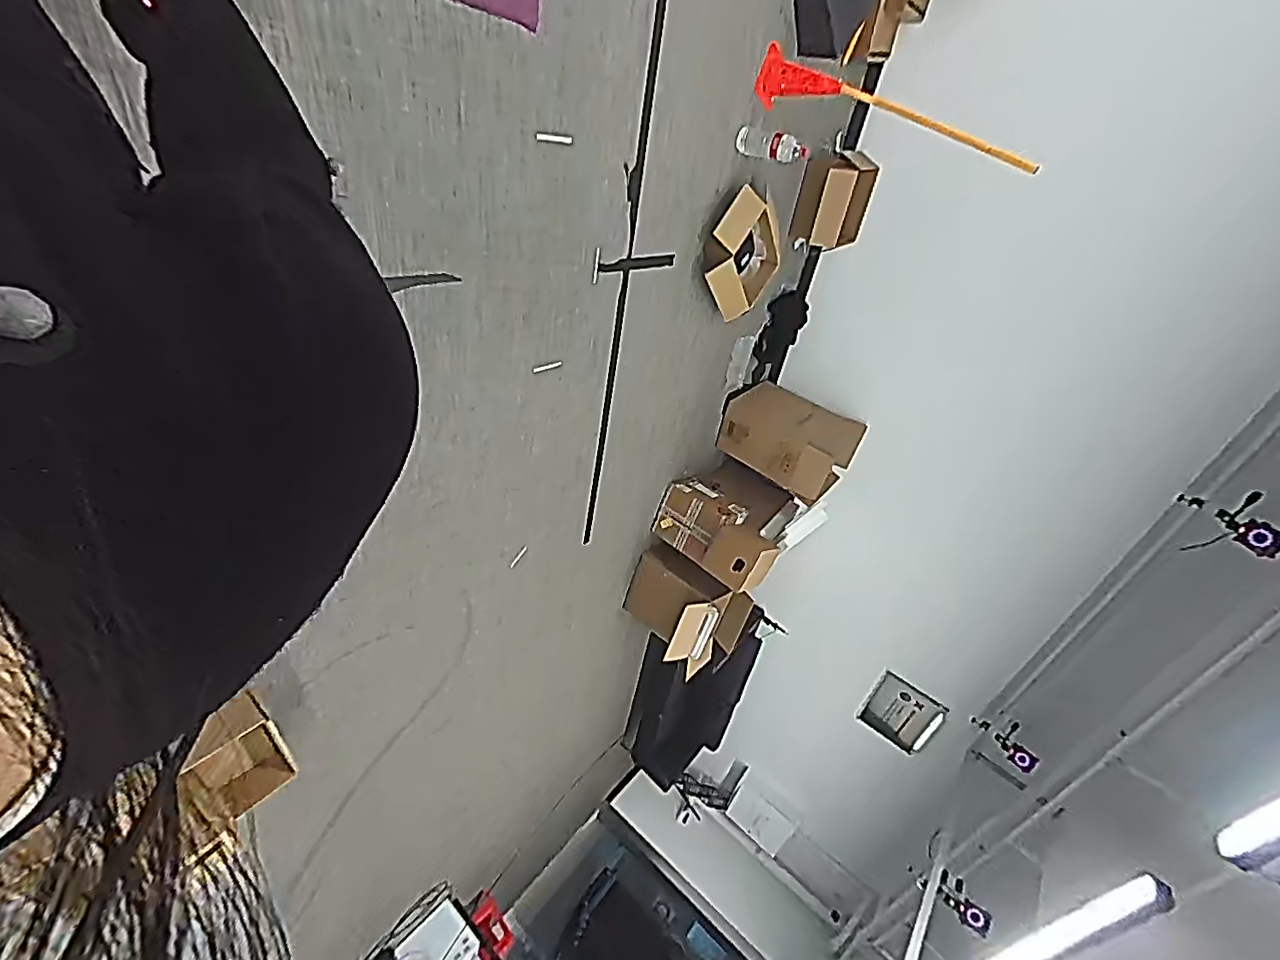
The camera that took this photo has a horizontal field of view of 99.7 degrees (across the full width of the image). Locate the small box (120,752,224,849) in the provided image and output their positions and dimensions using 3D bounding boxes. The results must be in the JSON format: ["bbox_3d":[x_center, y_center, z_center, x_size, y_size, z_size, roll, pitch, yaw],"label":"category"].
[{"bbox_3d":[-1.443,0.984,1.670,0.168,0.176,0.179,-37,146,-37],"label":"small box"}]
